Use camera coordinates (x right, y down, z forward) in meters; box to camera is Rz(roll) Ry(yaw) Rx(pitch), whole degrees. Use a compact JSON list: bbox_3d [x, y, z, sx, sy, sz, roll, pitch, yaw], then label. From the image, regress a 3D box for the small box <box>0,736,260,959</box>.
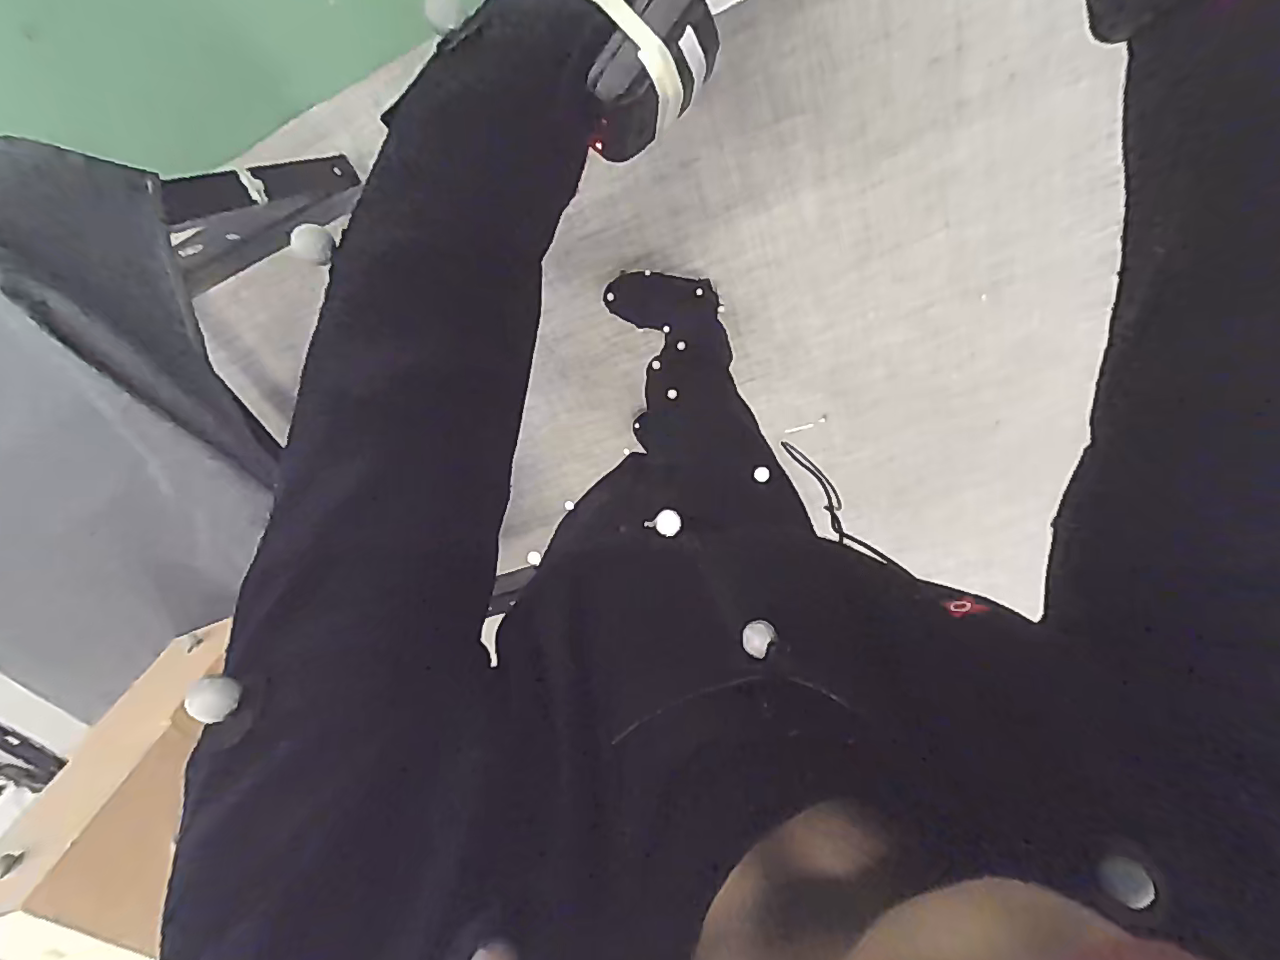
[{"bbox_3d":[-0.546,0.394,0.561,0.179,0.176,0.168,-21,120,16],"label":"small box"}]
